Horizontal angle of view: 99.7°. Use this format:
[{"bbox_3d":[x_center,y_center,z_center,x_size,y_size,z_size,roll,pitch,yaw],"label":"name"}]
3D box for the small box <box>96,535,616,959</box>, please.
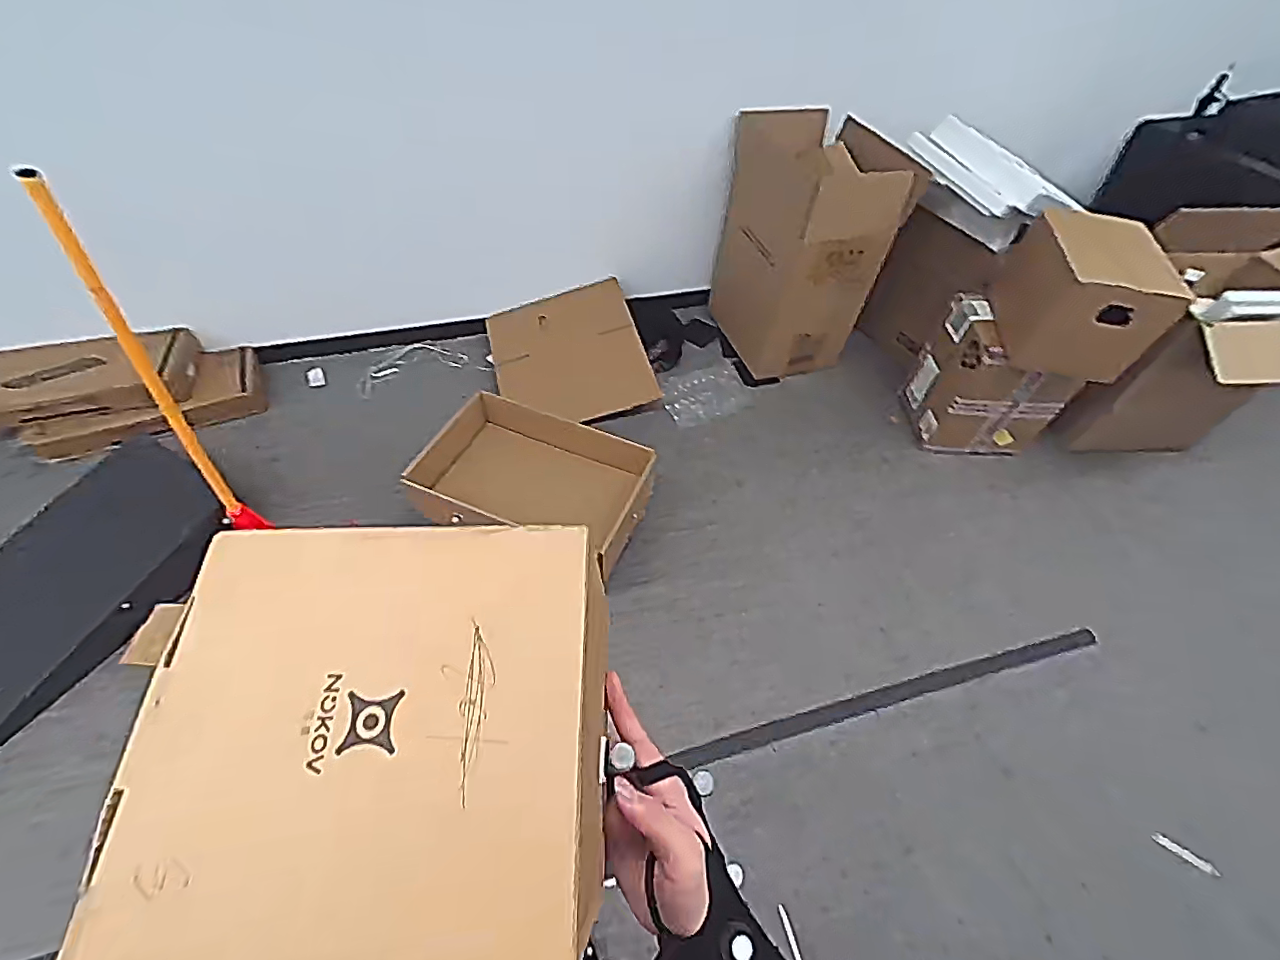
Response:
[{"bbox_3d":[-0.106,0.137,0.296,0.179,0.176,0.168,-1,63,-1],"label":"small box"}]
